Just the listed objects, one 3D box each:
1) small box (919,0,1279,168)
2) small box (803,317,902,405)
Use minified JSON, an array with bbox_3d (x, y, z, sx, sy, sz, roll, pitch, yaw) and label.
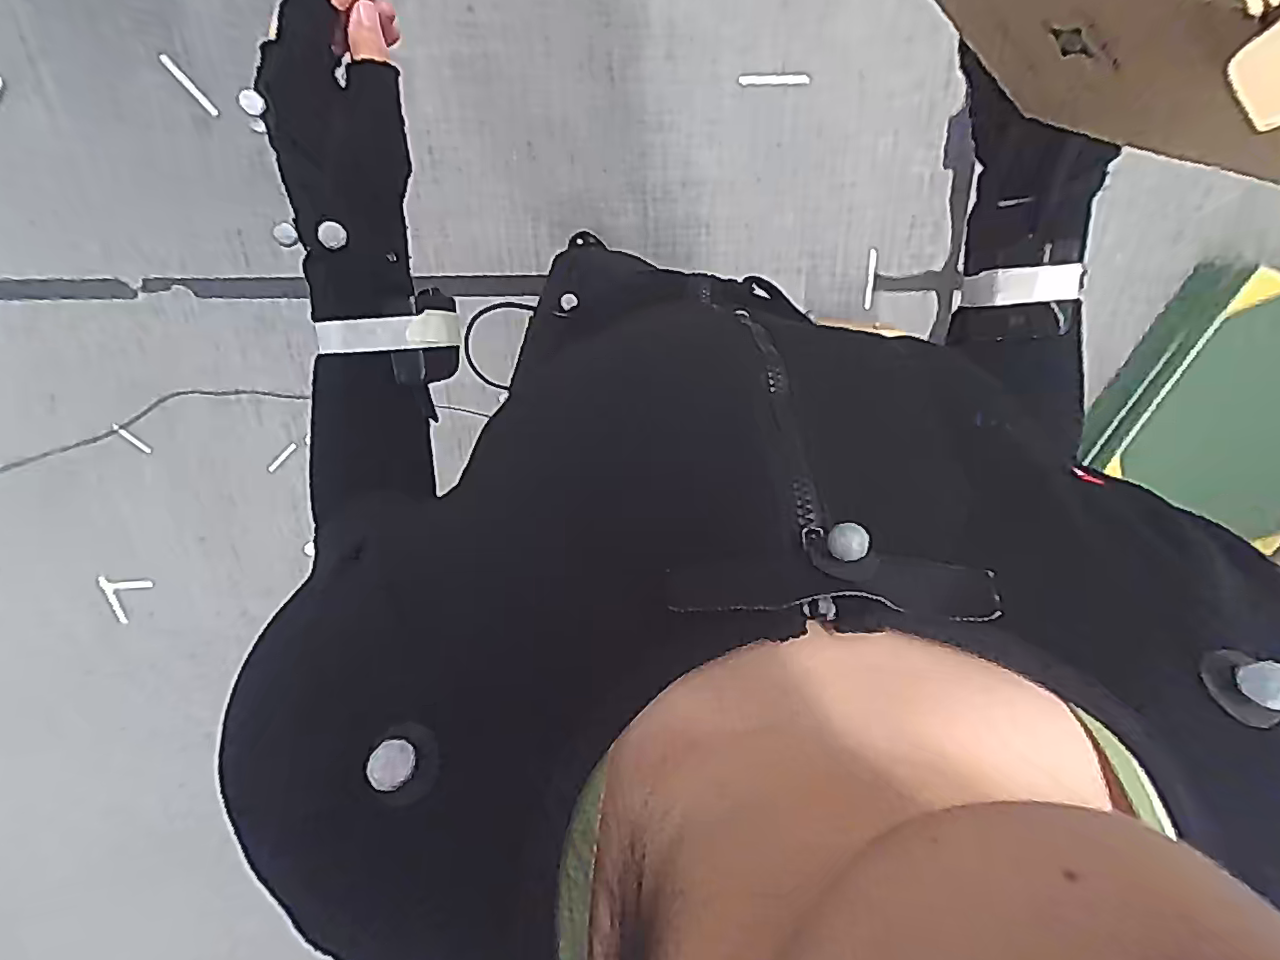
[{"bbox_3d":[0.230,-0.263,0.206,0.168,0.179,0.176,17,125,-31],"label":"small box"},{"bbox_3d":[0.516,-0.299,1.344,0.168,0.176,0.179,2,115,-2],"label":"small box"}]
